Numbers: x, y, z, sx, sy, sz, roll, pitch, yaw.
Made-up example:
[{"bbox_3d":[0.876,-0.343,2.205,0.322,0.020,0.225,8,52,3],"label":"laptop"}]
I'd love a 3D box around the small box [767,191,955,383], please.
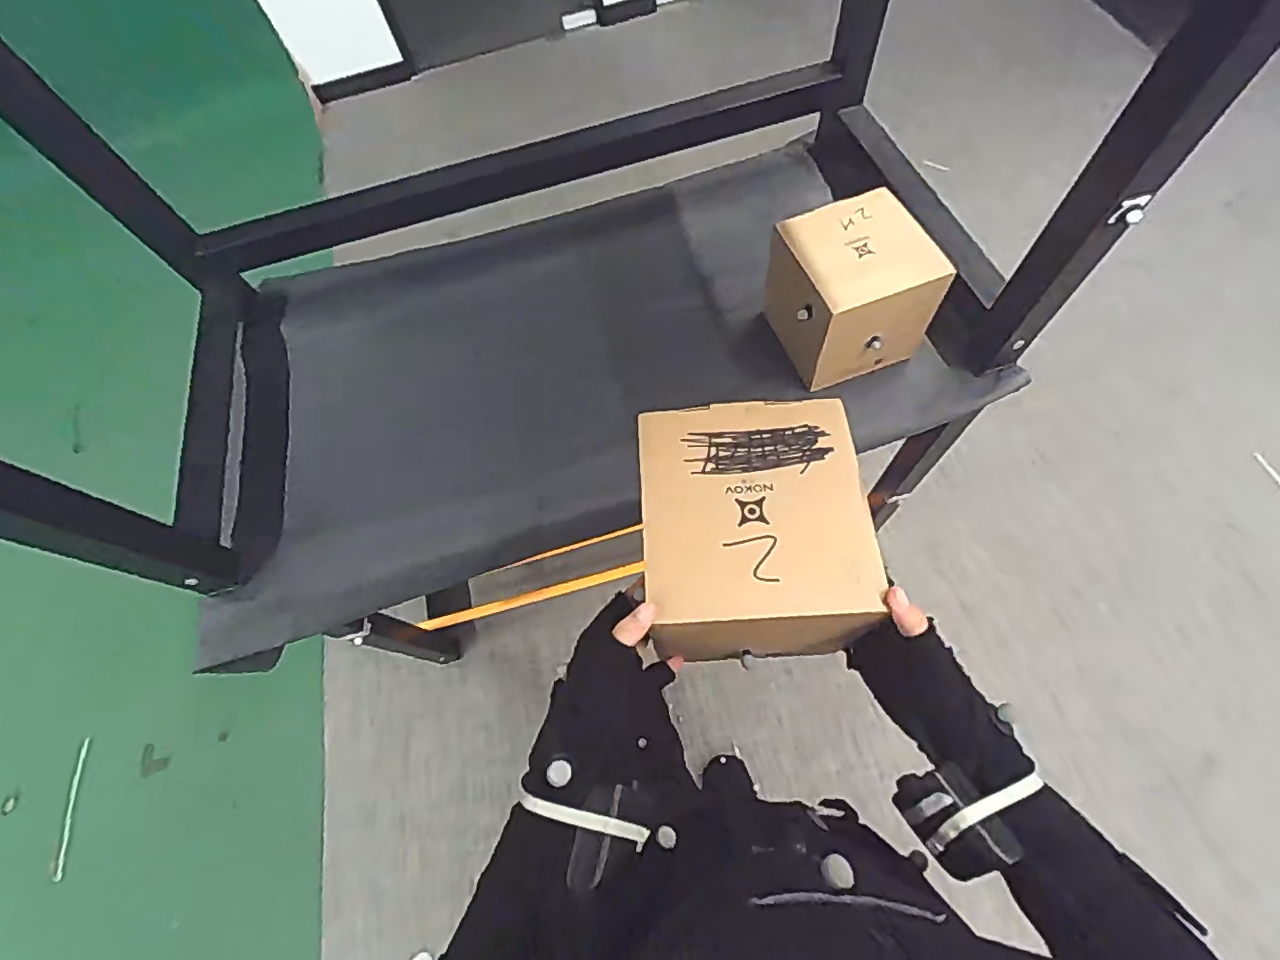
[{"bbox_3d":[0.294,-0.260,0.766,0.168,0.176,0.179,-19,63,-3],"label":"small box"}]
